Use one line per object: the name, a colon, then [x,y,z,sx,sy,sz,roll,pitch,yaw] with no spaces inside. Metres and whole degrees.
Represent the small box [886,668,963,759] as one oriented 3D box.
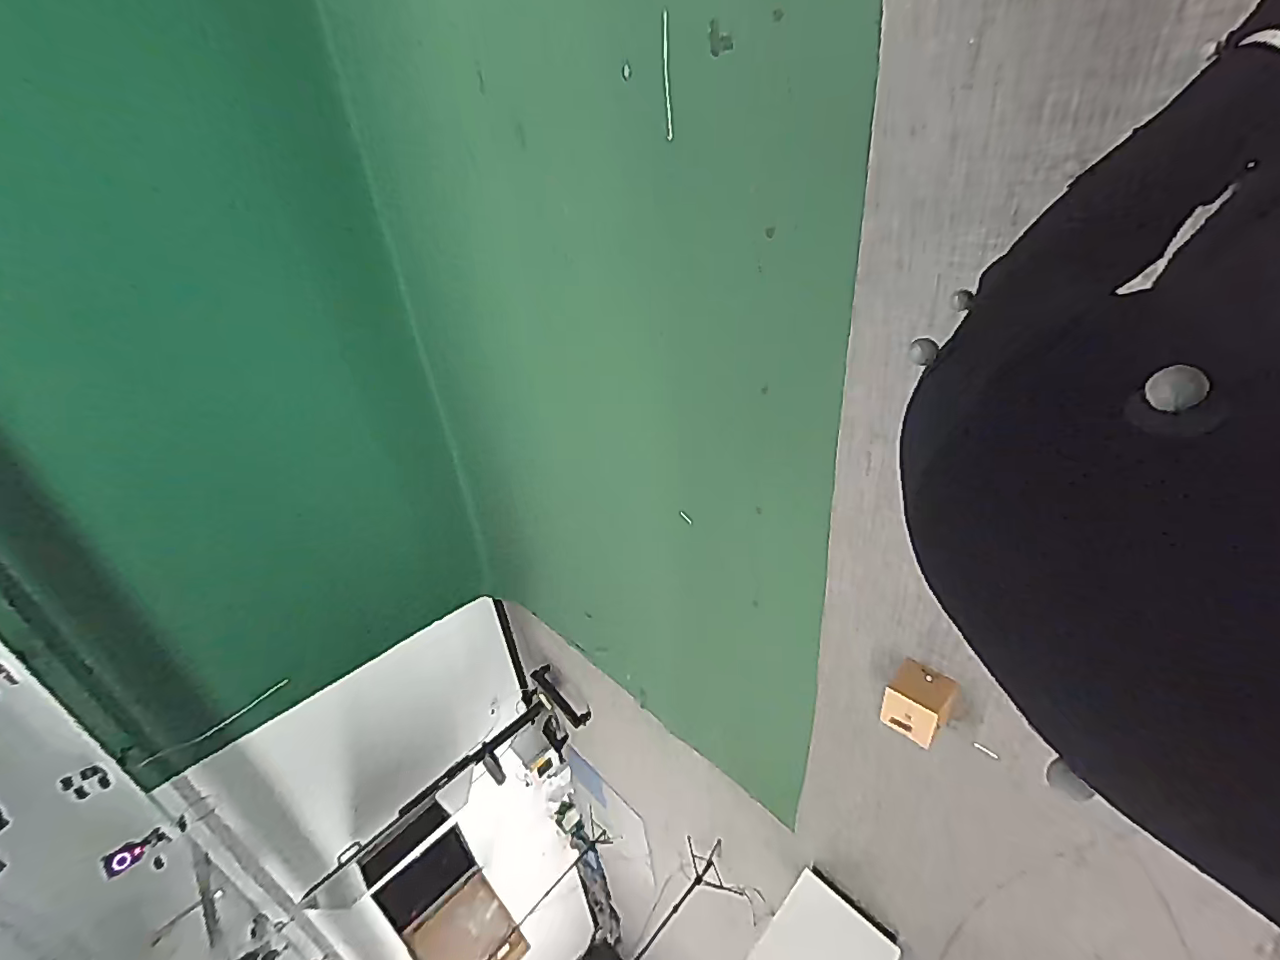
small box: [0.944,0.768,1.793,0.168,0.176,0.179,23,129,42]
